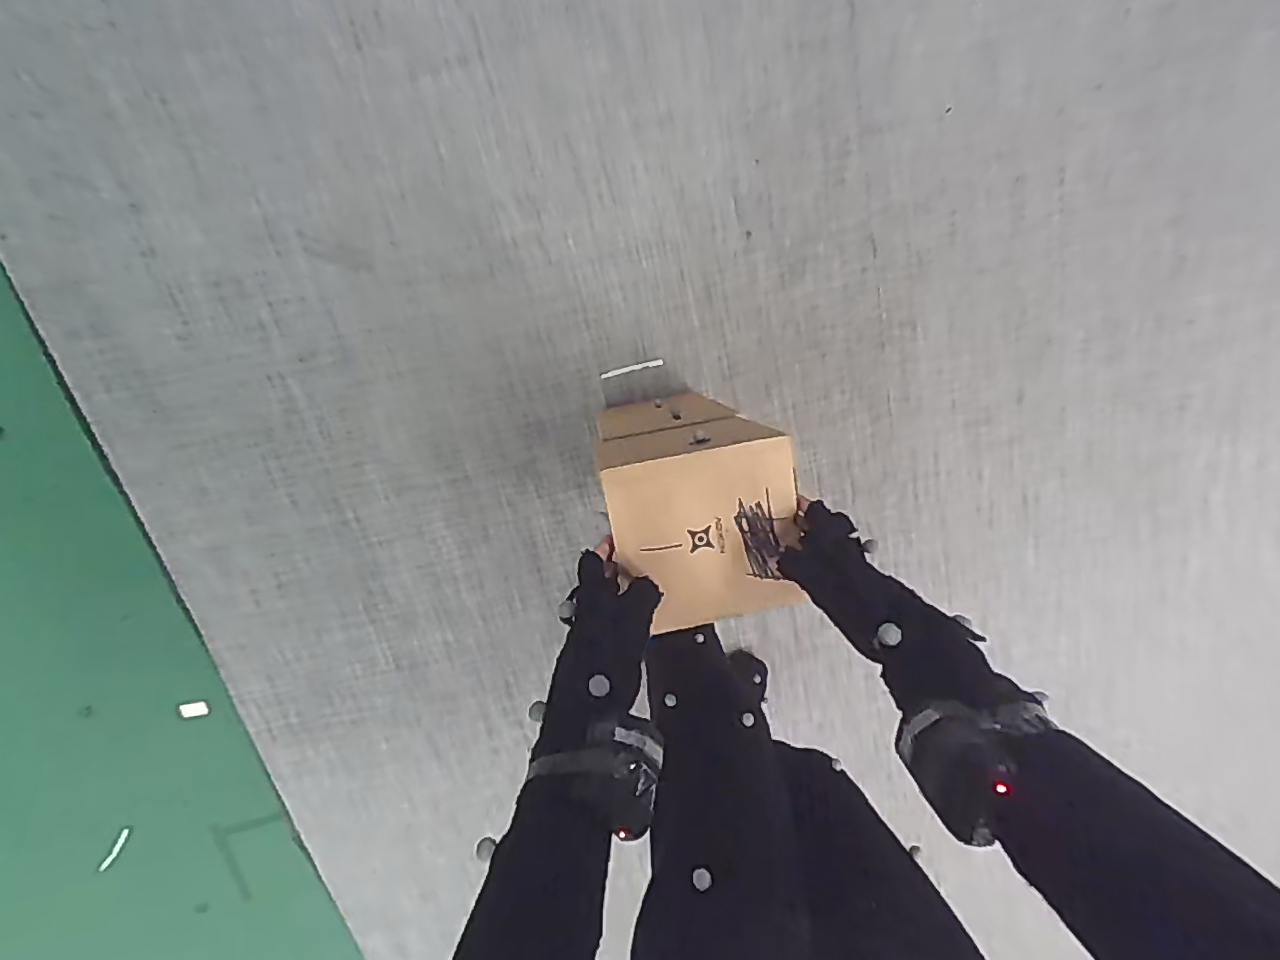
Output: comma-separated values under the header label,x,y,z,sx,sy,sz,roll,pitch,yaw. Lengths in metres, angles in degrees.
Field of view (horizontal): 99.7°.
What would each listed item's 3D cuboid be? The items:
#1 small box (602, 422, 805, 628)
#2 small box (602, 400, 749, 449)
label,x,y,z,sx,sy,sz,roll,pitch,yaw
small box,0.057,0.034,0.574,0.179,0.176,0.168,-8,101,-3
small box,0.048,-0.010,0.746,0.179,0.176,0.168,-10,106,-3
